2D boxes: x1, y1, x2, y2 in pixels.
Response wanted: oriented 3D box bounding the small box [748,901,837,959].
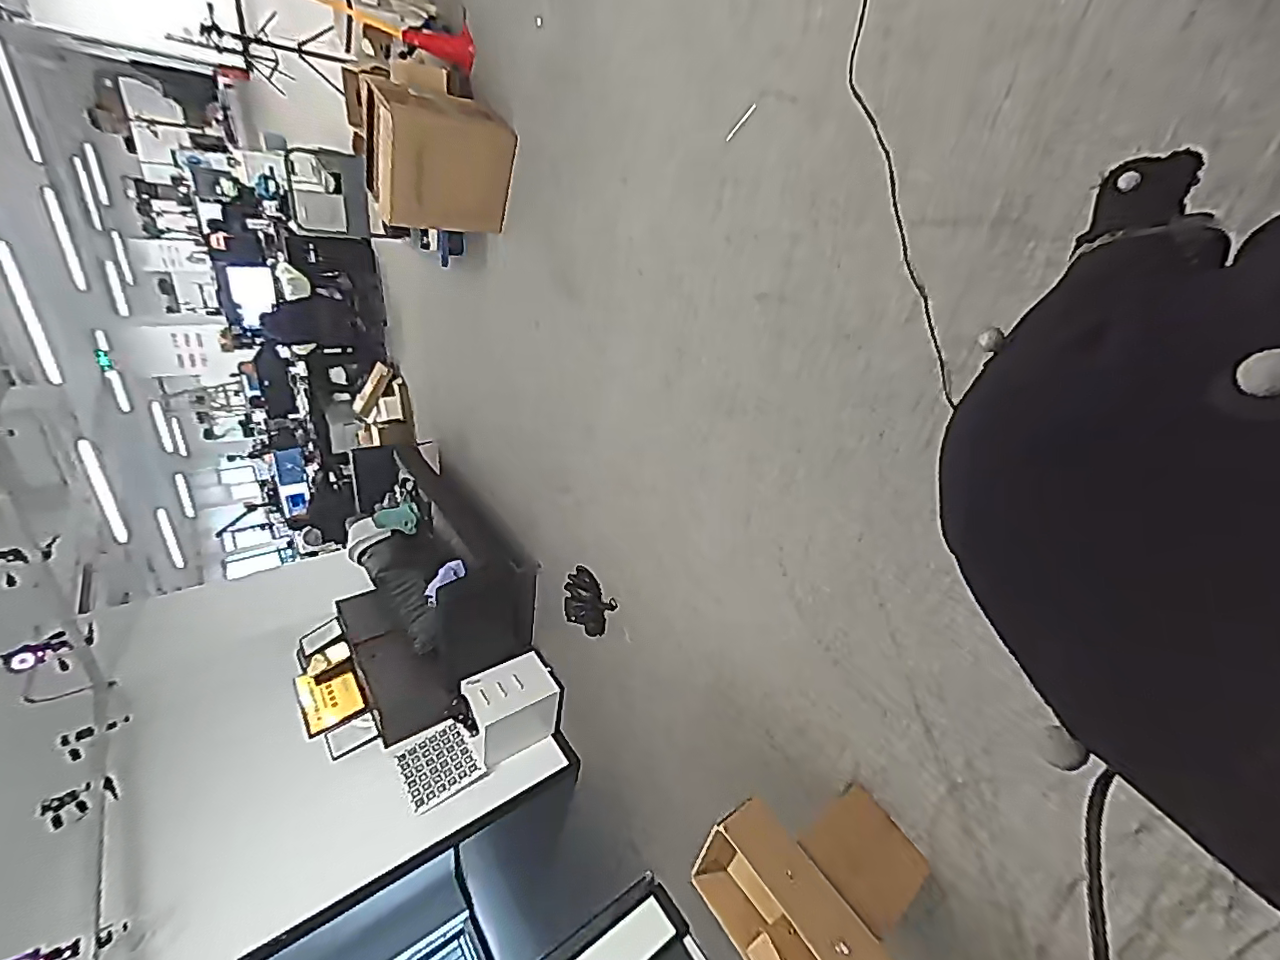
[{"bbox_3d":[0.461,1.420,1.625,0.168,0.176,0.179,45,137,39],"label":"small box"}]
